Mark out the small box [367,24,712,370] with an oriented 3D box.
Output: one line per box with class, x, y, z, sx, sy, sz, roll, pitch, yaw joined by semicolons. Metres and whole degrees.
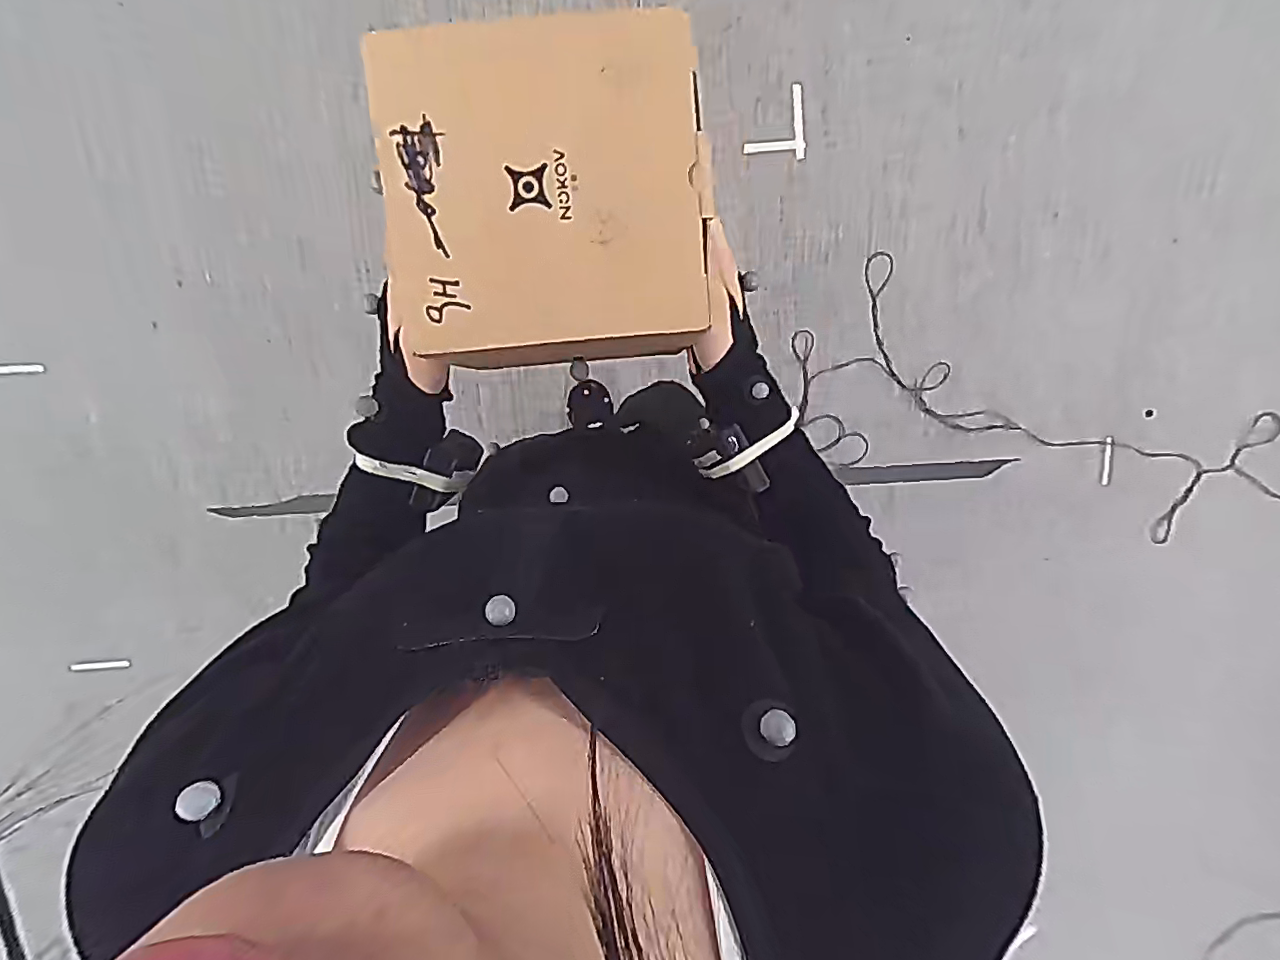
small box;-0.056;-0.169;0.375;0.179;0.176;0.168;-5;98;-3
